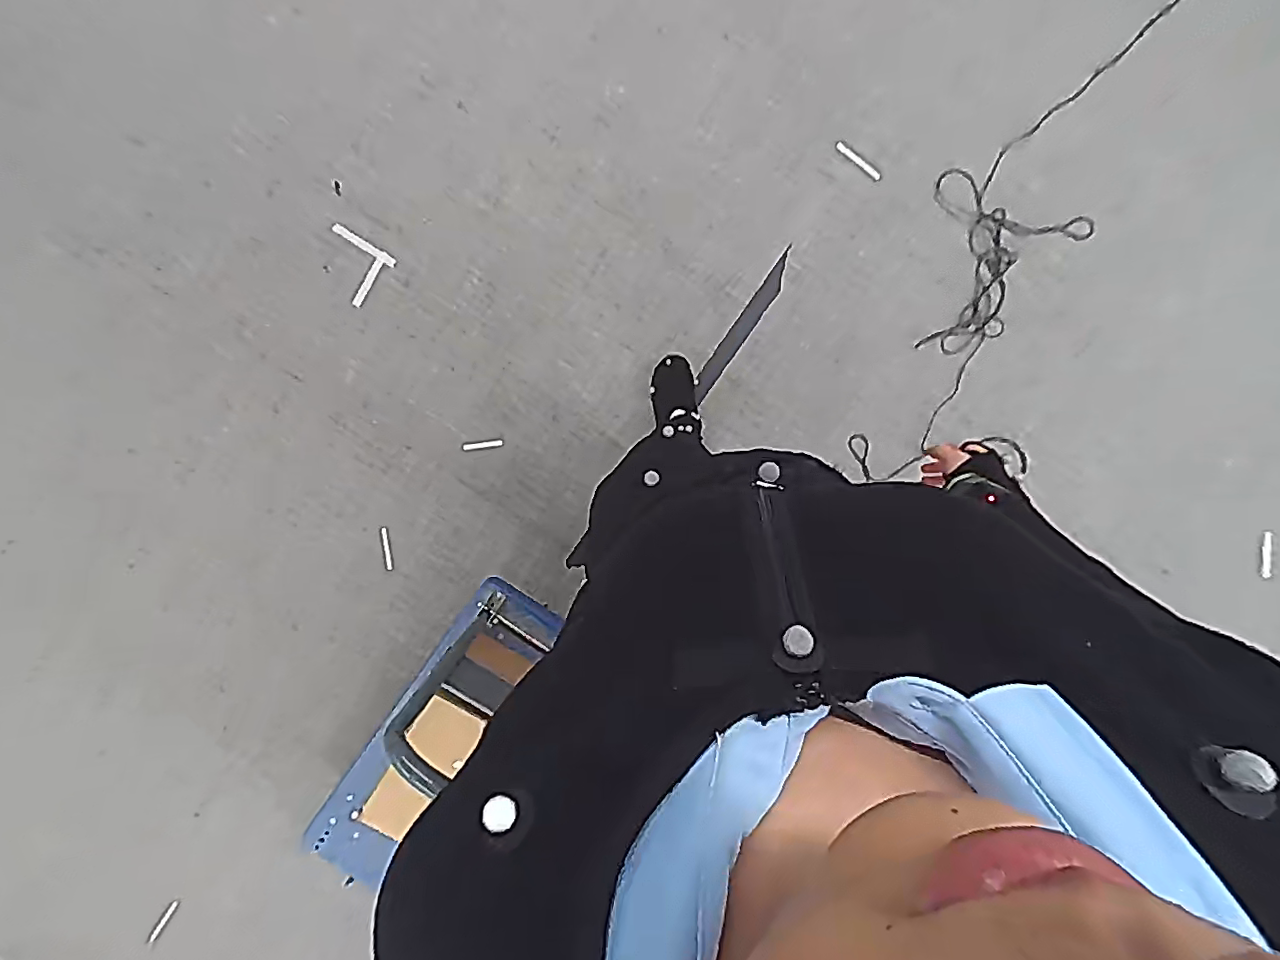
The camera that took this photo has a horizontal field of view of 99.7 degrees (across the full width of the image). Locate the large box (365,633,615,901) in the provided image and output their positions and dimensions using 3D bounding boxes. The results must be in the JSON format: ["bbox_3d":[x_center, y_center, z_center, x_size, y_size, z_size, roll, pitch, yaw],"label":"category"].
[{"bbox_3d":[-0.305,0.620,1.226,0.408,0.320,0.320,32,94,-4],"label":"large box"}]
